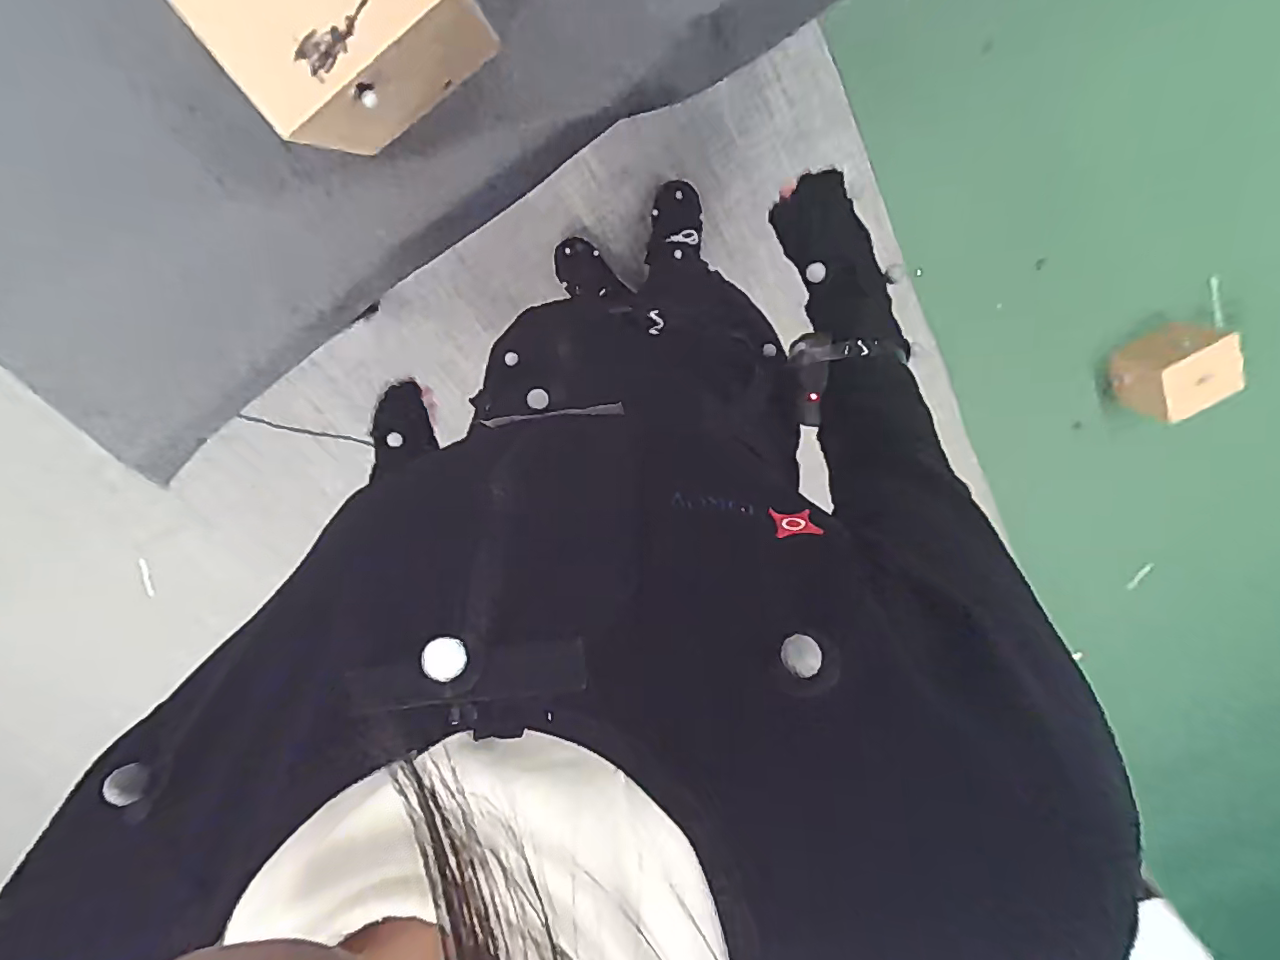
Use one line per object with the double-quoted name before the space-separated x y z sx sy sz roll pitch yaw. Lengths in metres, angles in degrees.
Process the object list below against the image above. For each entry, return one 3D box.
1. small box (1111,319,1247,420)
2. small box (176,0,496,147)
"small box" 1.354 -0.284 1.365 0.179 0.176 0.168 -29 114 11
"small box" -0.235 -0.386 0.405 0.168 0.176 0.179 -31 114 12
